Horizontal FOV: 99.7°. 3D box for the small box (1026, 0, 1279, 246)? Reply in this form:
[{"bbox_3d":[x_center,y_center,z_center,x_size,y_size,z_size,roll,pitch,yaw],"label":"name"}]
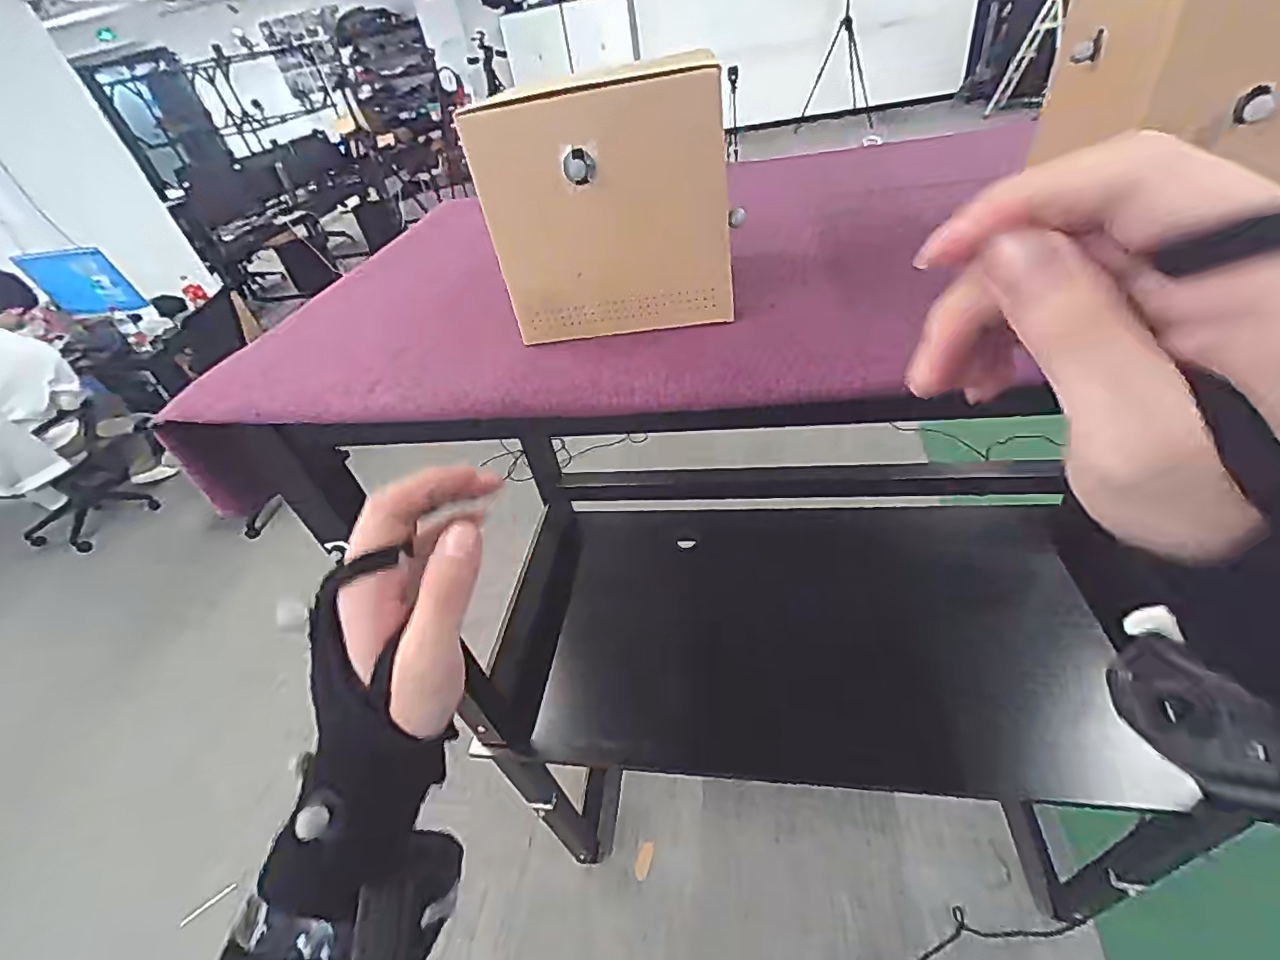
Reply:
[{"bbox_3d":[0.424,-0.283,0.400,0.168,0.176,0.179,1,40,15],"label":"small box"}]

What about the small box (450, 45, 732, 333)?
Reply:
[{"bbox_3d":[-0.020,-0.233,0.445,0.179,0.176,0.168,-4,41,9],"label":"small box"}]
